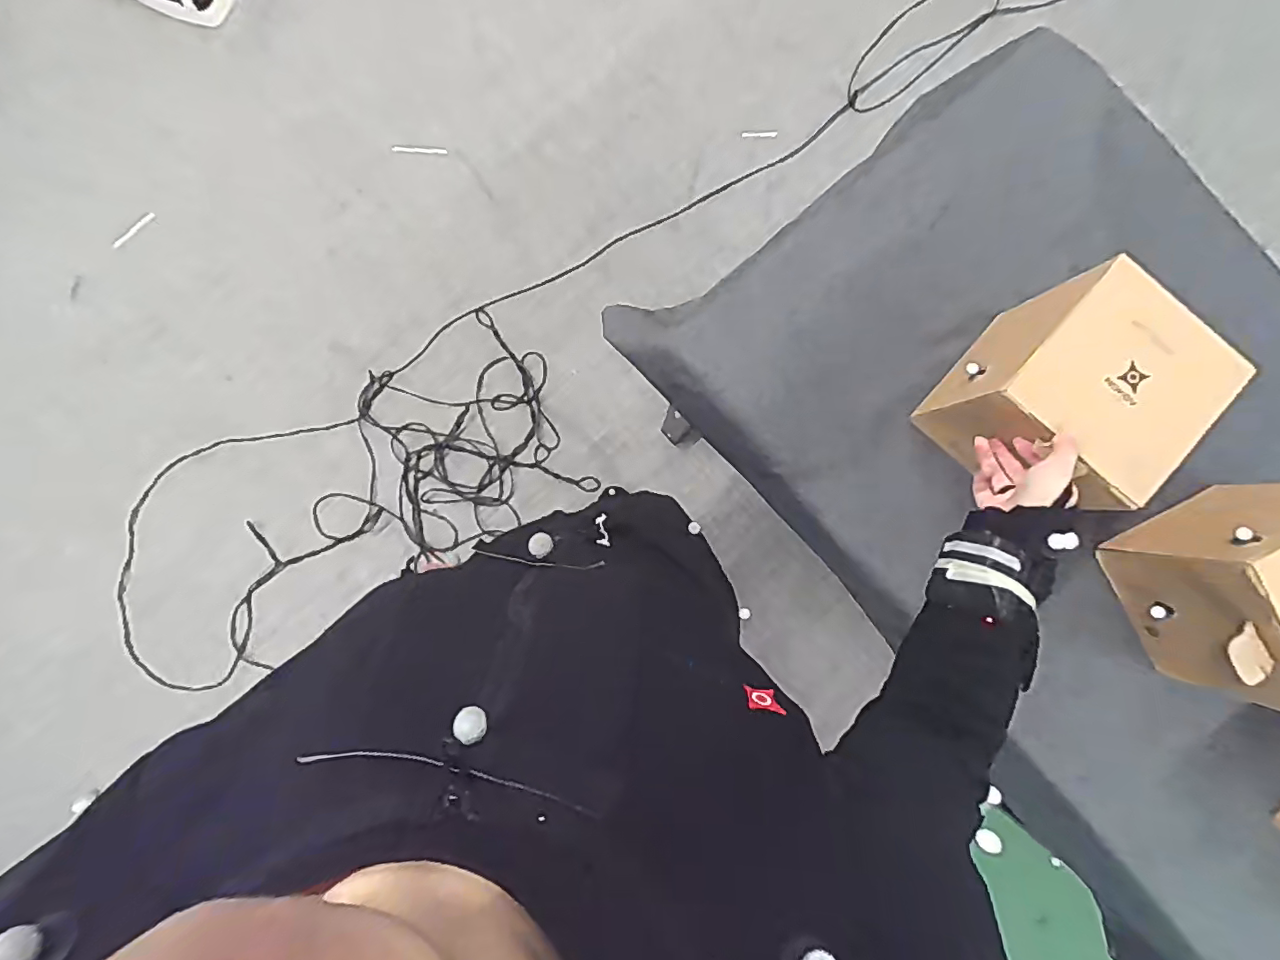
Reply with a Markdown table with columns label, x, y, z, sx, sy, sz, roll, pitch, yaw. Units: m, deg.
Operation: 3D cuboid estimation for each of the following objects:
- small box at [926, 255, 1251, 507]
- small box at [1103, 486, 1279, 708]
| label | x | y | z | sx | sy | sz | roll | pitch | yaw |
| --- | --- | --- | --- | --- | --- | --- | --- | --- | --- |
| small box | 0.442 | -0.087 | 0.571 | 0.168 | 0.176 | 0.179 | 41 | 87 | 0 |
| small box | 0.658 | 0.111 | 0.566 | 0.179 | 0.176 | 0.168 | -26 | 89 | 0 |
